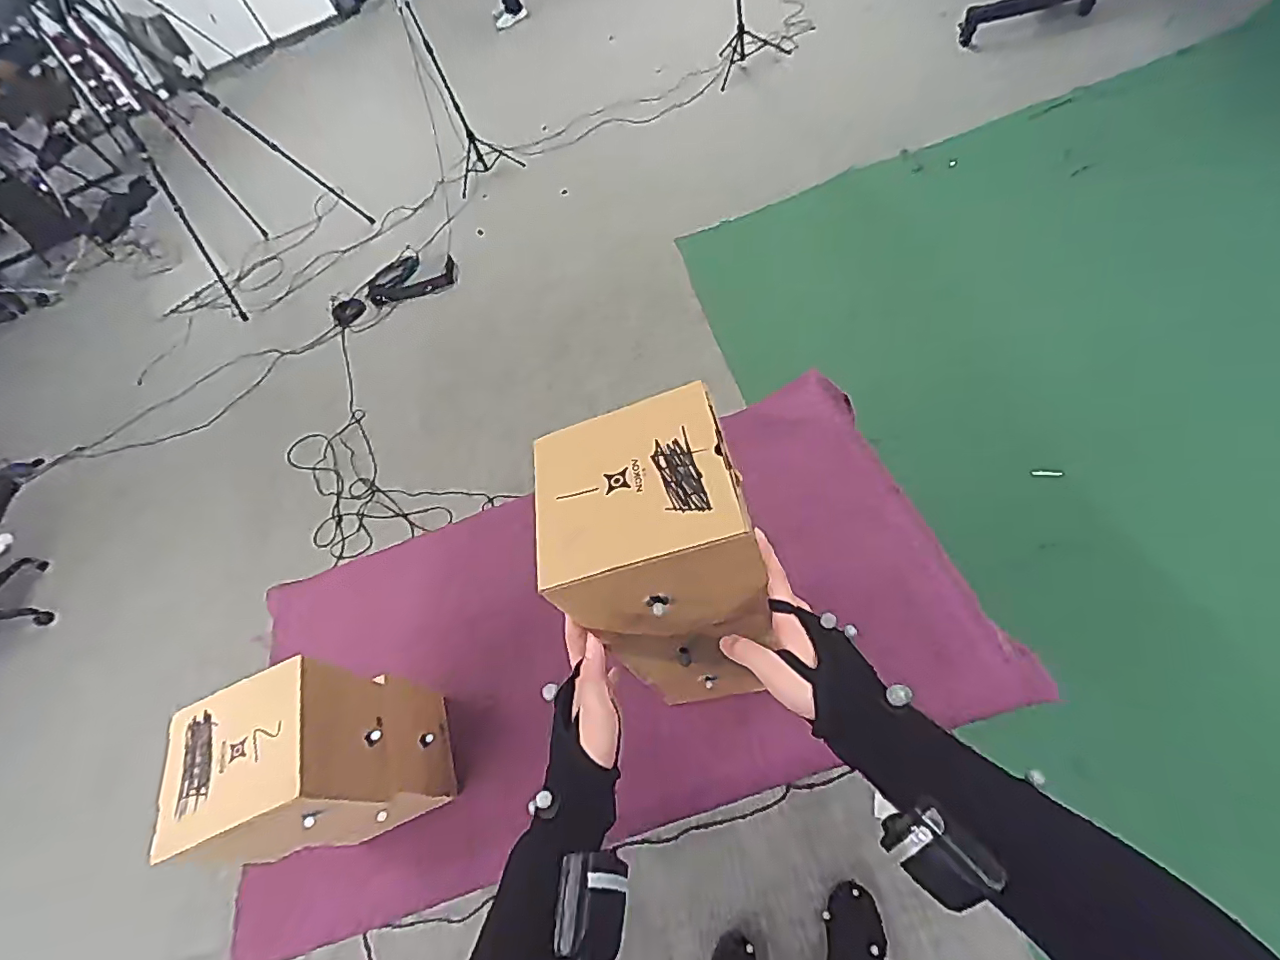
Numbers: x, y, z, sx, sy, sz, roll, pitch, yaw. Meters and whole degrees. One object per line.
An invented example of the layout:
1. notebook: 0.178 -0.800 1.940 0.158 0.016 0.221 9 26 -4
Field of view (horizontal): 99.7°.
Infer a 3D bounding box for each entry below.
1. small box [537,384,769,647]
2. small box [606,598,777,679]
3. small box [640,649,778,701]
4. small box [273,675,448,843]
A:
1. small box: 0.018 0.044 0.519 0.179 0.176 0.168 -17 54 11
2. small box: 0.060 0.134 0.666 0.179 0.176 0.168 -15 56 8
3. small box: 0.099 0.219 0.800 0.179 0.176 0.168 -12 56 9
4. small box: -0.408 0.421 0.817 0.179 0.176 0.168 -24 55 0
